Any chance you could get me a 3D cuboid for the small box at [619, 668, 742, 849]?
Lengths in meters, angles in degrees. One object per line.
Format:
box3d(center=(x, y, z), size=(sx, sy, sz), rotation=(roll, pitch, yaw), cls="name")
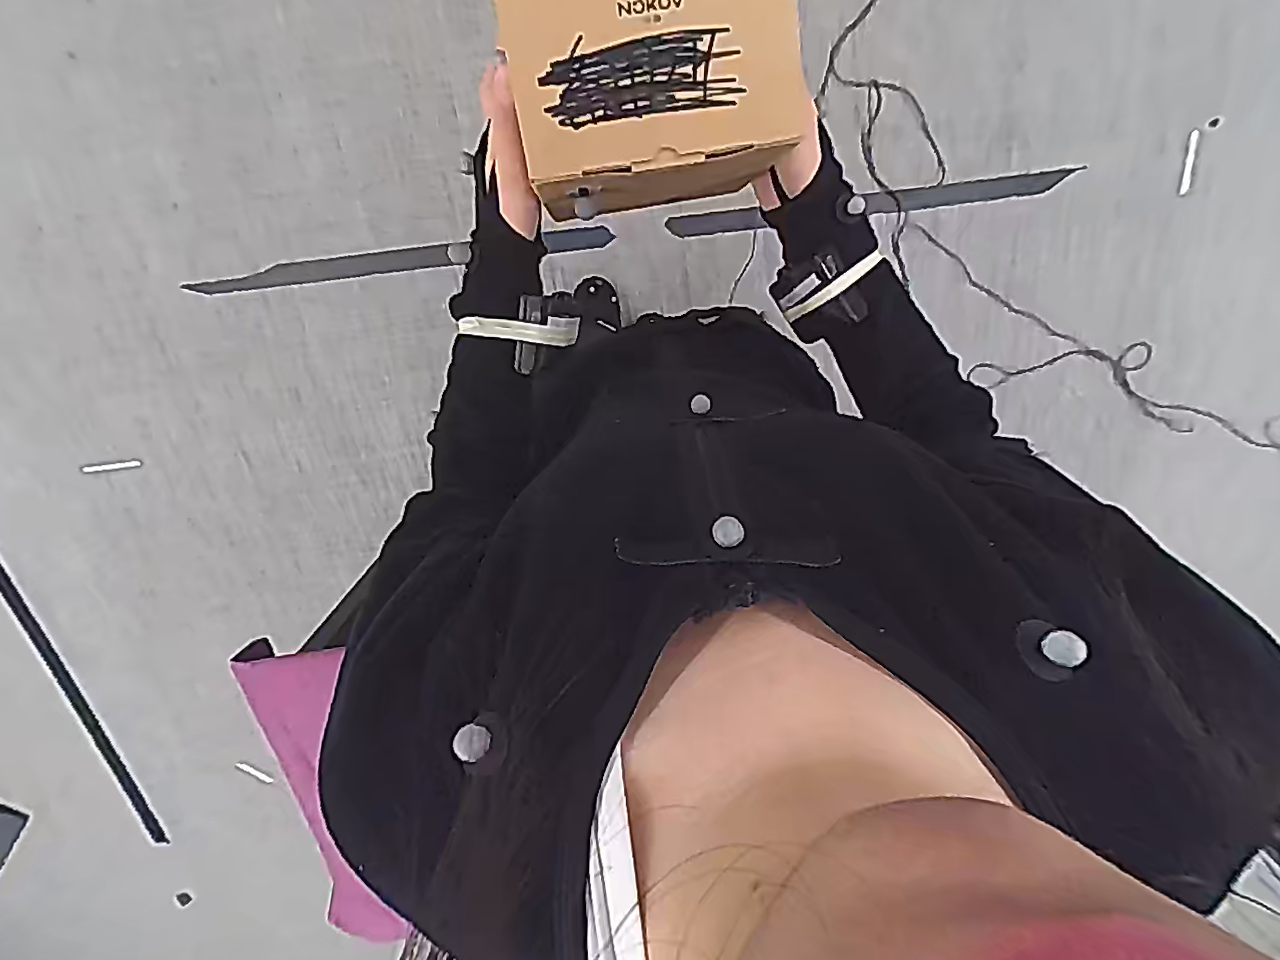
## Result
box3d(center=(0.057, 0.421, 0.833), size=(0.168, 0.176, 0.179), rotation=(-6, 110, -2), cls="small box")
